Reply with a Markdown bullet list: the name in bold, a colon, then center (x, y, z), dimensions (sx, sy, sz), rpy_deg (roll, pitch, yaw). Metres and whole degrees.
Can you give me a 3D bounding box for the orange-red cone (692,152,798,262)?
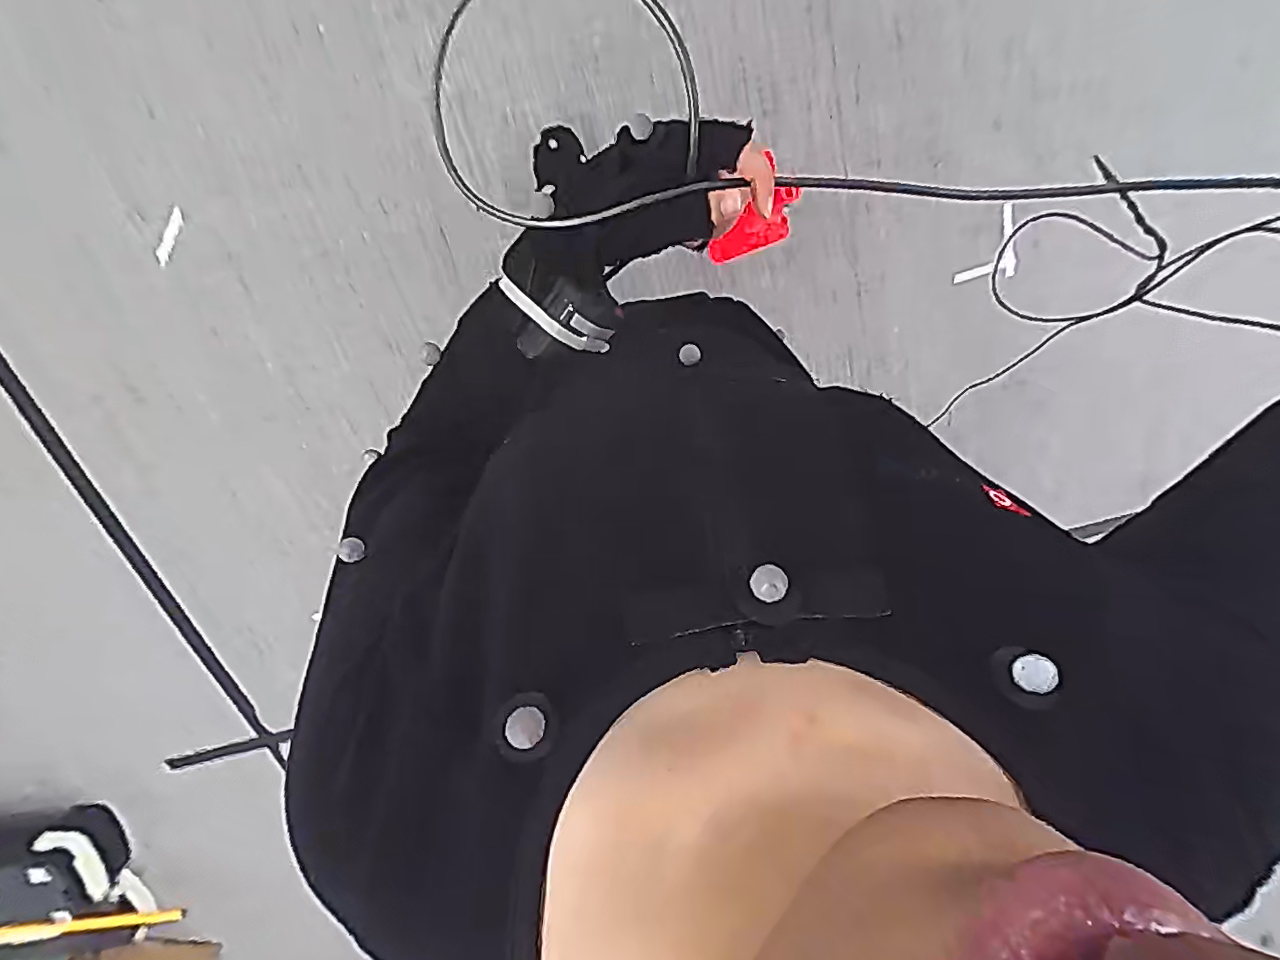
- **orange-red cone**: center (0.245, -0.569, 1.099), dimensions (0.199, 0.360, 0.198), rpy_deg (-19, 111, 4)
